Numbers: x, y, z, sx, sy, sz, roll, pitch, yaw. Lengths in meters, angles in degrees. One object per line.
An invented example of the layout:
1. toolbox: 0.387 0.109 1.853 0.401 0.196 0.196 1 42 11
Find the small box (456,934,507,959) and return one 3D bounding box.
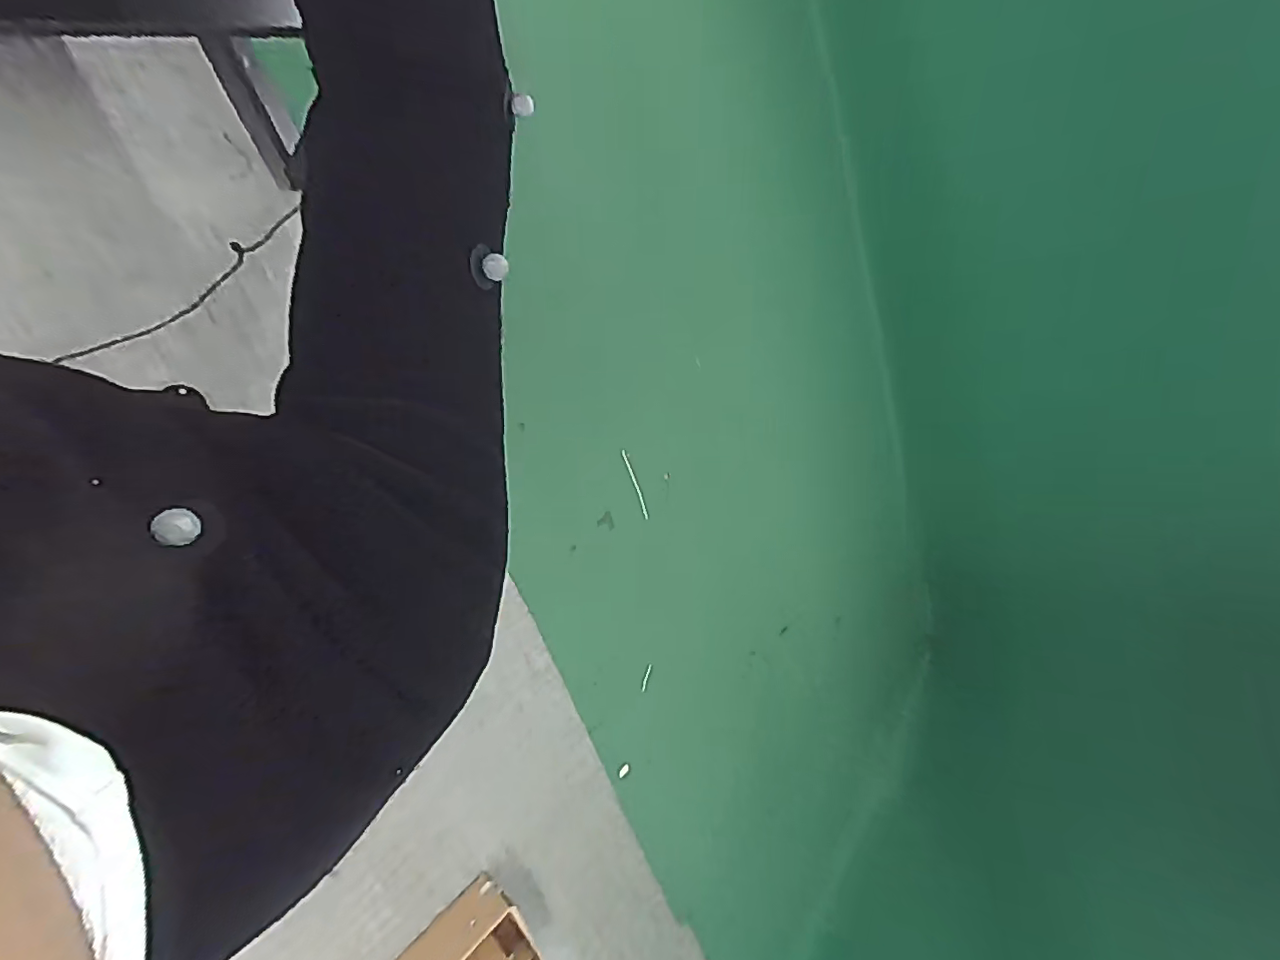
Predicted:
1. small box: -0.481 1.559 1.661 0.168 0.176 0.179 -33 112 -37
